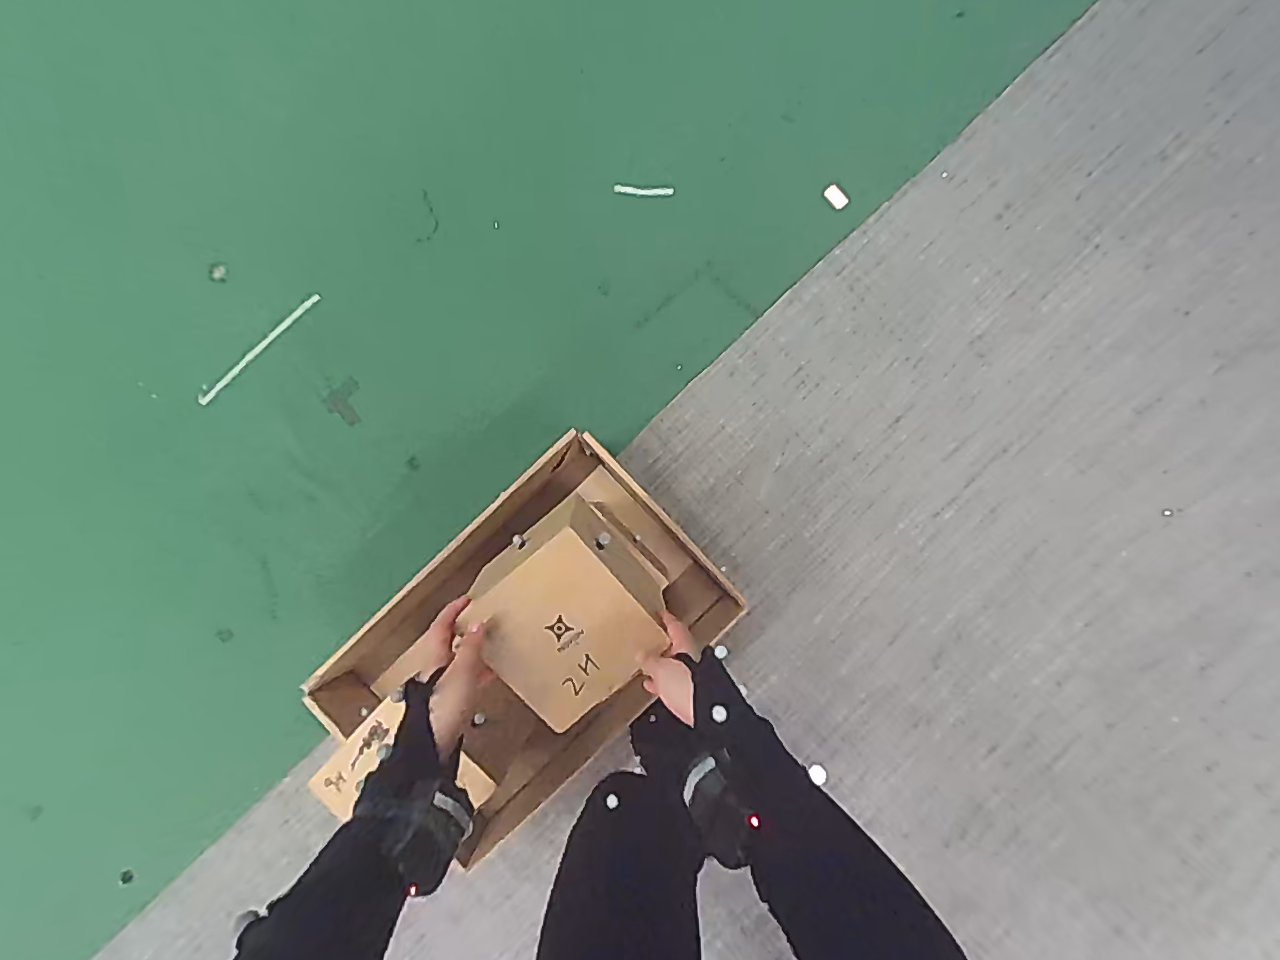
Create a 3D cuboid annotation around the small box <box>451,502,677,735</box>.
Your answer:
[{"bbox_3d":[-0.082,0.143,0.632,0.168,0.176,0.179,-40,102,5],"label":"small box"}]

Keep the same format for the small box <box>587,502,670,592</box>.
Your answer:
[{"bbox_3d":[-0.070,0.153,0.896,0.179,0.176,0.168,45,90,1],"label":"small box"}]
